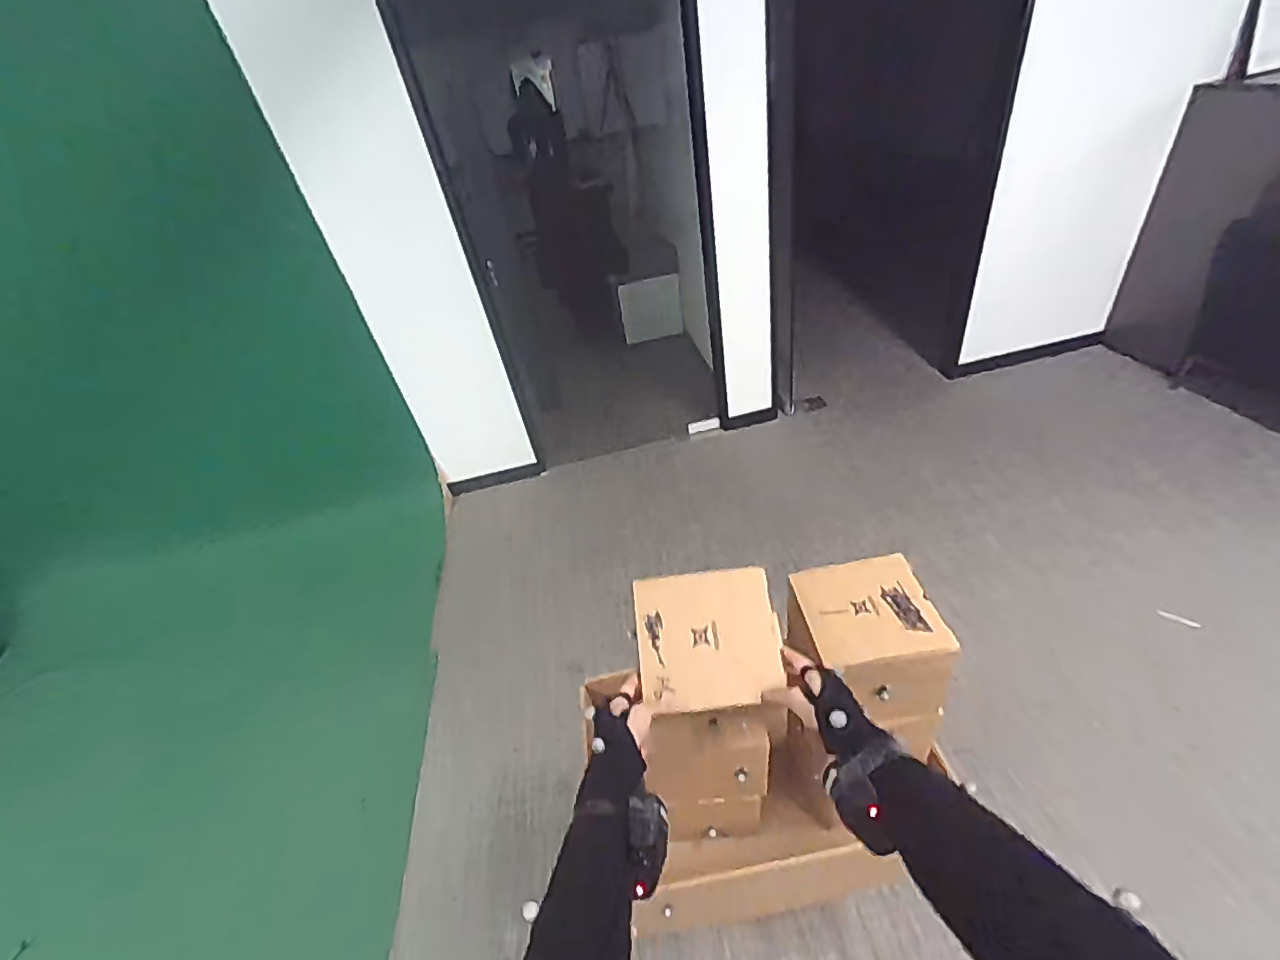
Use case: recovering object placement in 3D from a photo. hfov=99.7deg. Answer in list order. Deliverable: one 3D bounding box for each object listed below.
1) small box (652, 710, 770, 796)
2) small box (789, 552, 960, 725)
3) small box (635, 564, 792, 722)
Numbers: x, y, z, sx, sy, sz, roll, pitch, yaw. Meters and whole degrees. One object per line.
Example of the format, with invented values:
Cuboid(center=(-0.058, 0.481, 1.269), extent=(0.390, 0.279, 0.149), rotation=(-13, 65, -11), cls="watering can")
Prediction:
Cuboid(center=(0.111, 0.403, 0.903), extent=(0.179, 0.176, 0.168), rotation=(-6, 36, 3), cls="small box")
Cuboid(center=(0.325, 0.233, 0.793), extent=(0.179, 0.176, 0.168), rotation=(-10, 38, 3), cls="small box")
Cuboid(center=(0.087, 0.225, 0.729), extent=(0.179, 0.176, 0.168), rotation=(-5, 60, 0), cls="small box")
